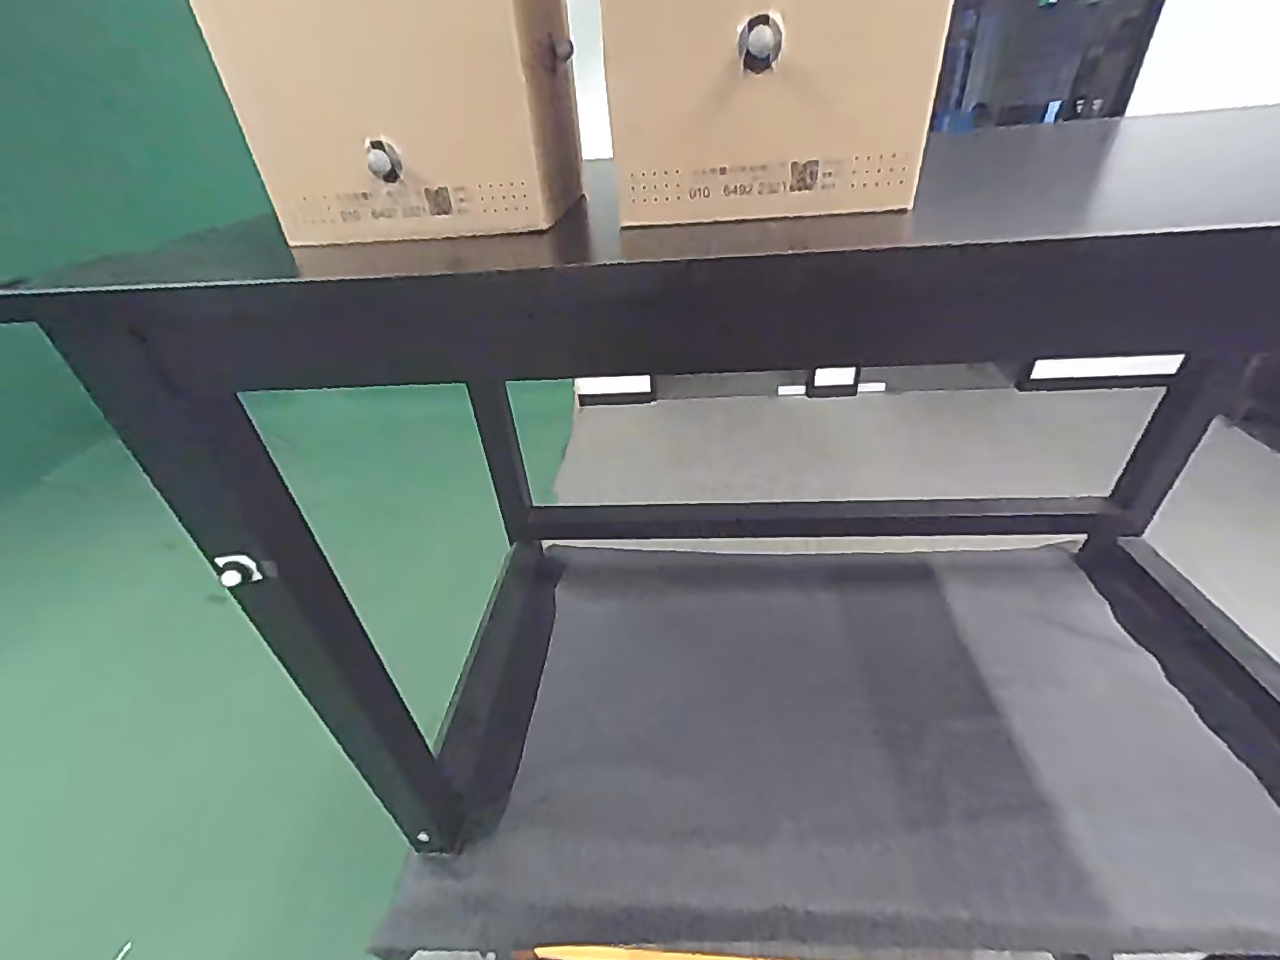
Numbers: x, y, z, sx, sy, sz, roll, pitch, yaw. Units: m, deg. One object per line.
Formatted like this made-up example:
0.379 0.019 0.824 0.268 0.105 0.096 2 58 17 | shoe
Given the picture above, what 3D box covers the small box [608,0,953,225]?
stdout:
0.075 -0.257 0.328 0.168 0.176 0.179 0 34 6 | small box
